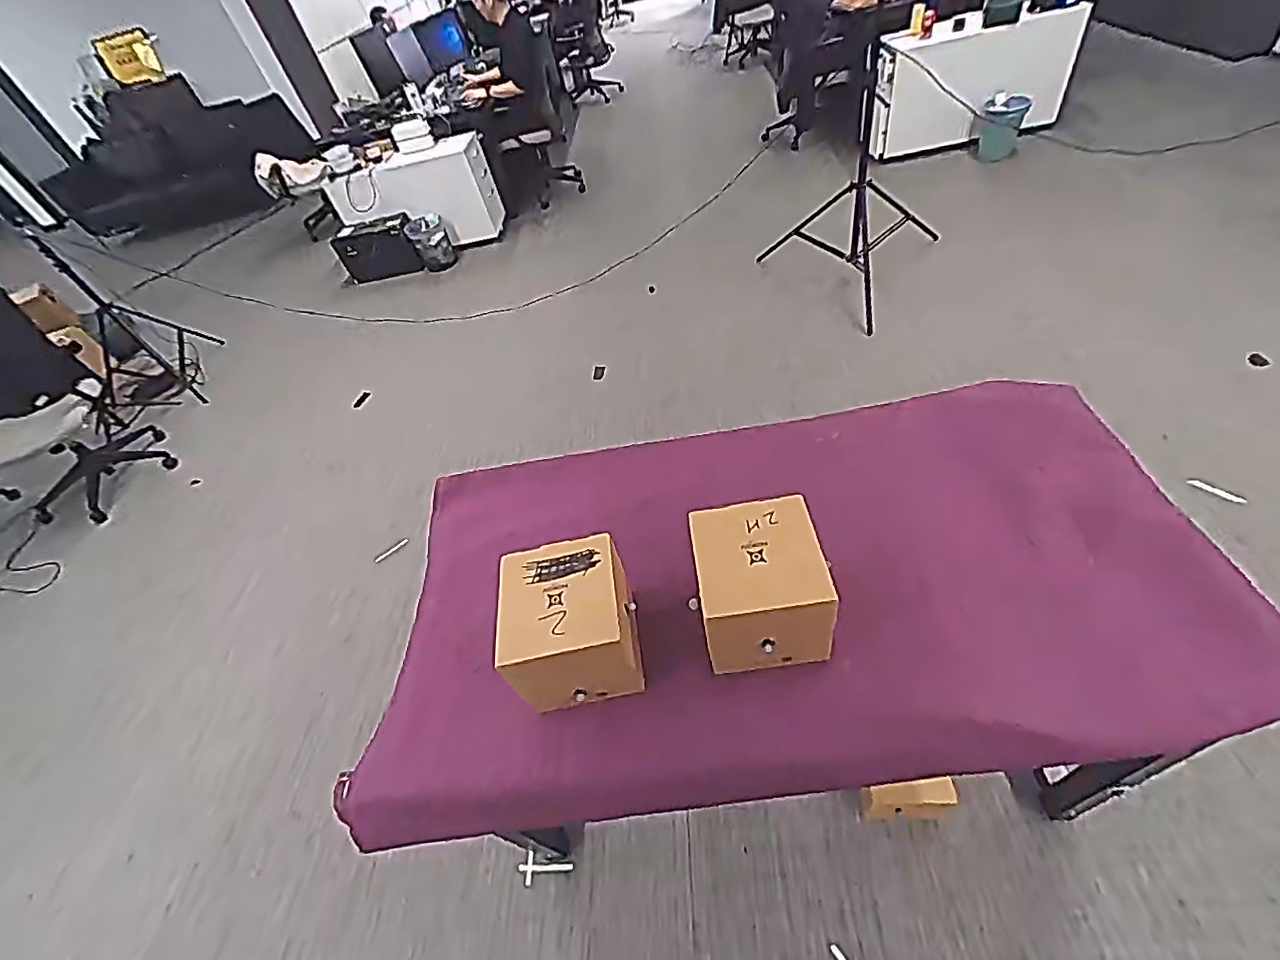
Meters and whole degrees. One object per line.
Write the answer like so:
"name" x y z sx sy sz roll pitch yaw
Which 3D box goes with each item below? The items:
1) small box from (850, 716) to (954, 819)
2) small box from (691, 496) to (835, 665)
"small box" 0.581 0.652 1.223 0.168 0.176 0.179 -5 47 10
"small box" 0.171 0.152 0.777 0.168 0.176 0.179 -9 46 5
